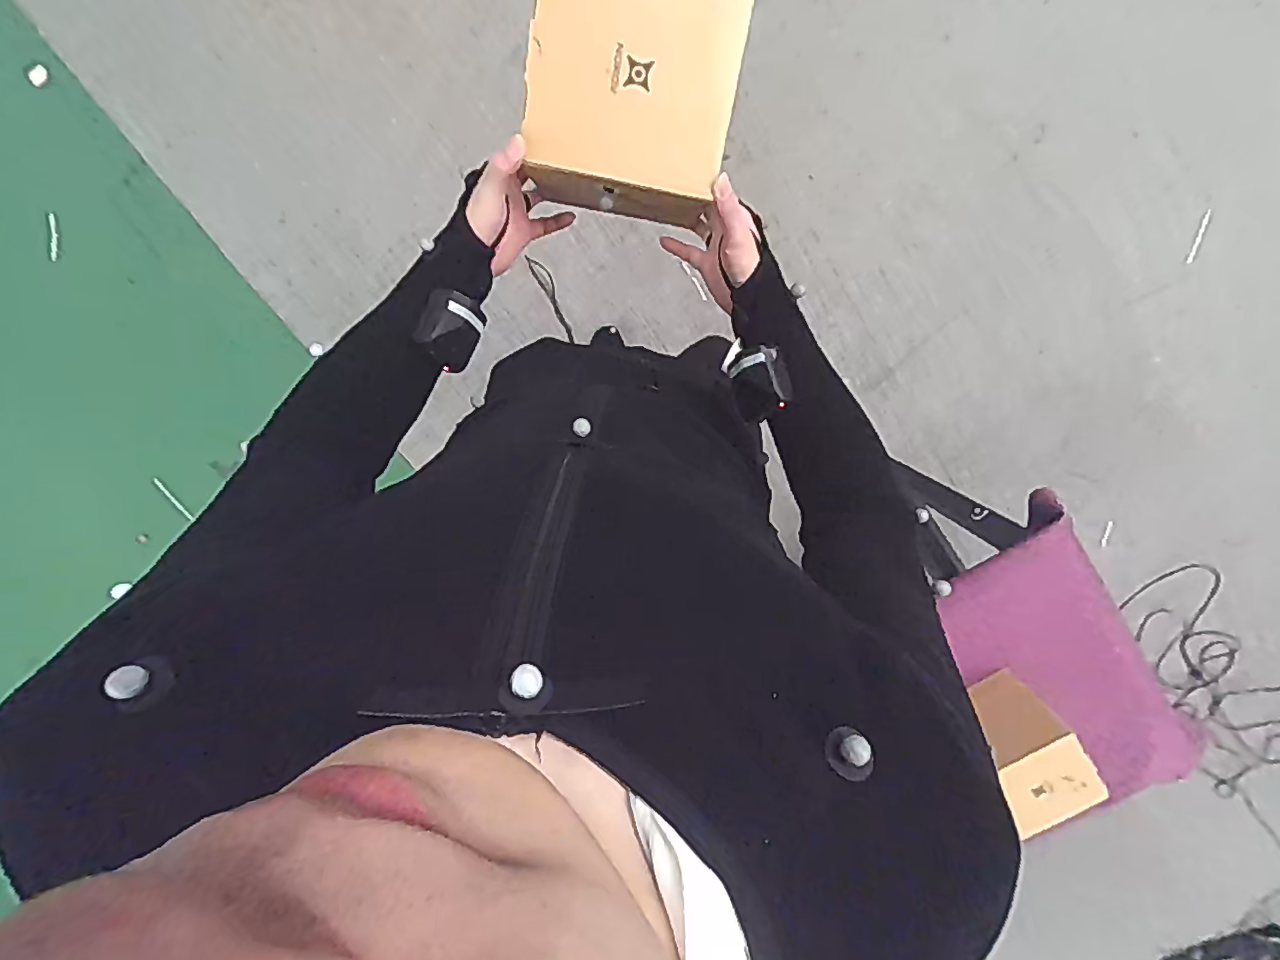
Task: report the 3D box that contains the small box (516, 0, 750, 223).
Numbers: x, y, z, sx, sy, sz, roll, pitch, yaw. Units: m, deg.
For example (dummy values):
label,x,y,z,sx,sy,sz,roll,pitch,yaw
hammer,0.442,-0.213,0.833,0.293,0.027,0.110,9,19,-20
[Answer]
label,x,y,z,sx,sy,sz,roll,pitch,yaw
small box,-0.009,-0.361,0.528,0.179,0.176,0.168,10,107,-2

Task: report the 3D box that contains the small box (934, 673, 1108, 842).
label,x,y,z,sx,sy,sz,roll,pitch,yaw
small box,0.664,0.489,0.971,0.179,0.176,0.168,-34,104,9
